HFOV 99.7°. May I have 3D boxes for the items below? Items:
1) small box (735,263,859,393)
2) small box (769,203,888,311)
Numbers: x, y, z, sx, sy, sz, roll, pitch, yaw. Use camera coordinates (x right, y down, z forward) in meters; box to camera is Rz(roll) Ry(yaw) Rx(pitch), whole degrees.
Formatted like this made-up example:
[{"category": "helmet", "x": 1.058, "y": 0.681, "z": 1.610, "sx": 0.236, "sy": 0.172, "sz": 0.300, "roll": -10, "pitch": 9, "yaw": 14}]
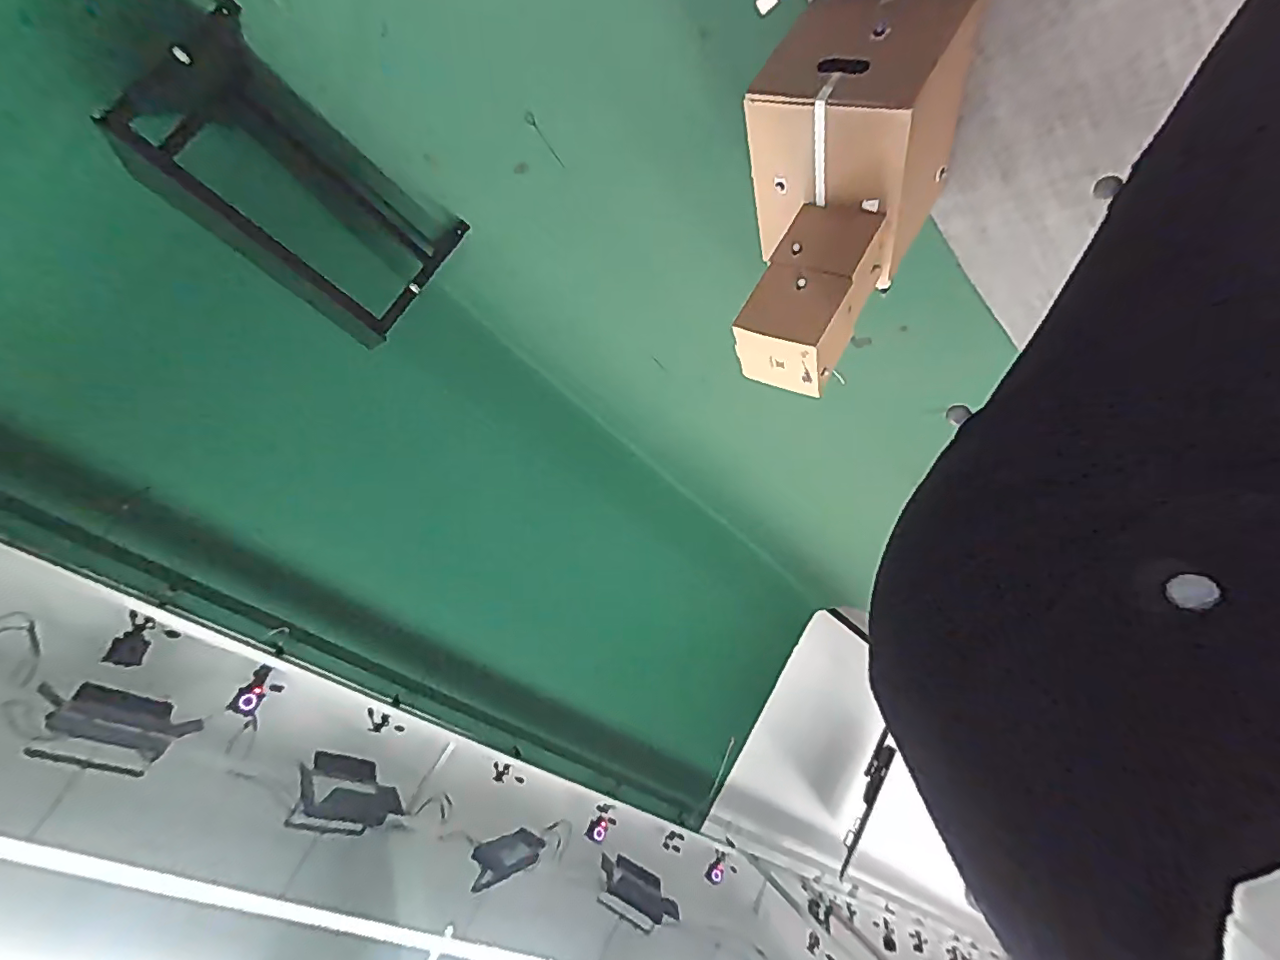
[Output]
[{"category": "small box", "x": 0.317, "y": -0.309, "z": 1.090, "sx": 0.179, "sy": 0.176, "sz": 0.168, "roll": 25, "pitch": 166, "yaw": 28}, {"category": "small box", "x": 0.392, "y": -0.449, "z": 1.132, "sx": 0.179, "sy": 0.176, "sz": 0.168, "roll": 24, "pitch": 165, "yaw": 27}]
